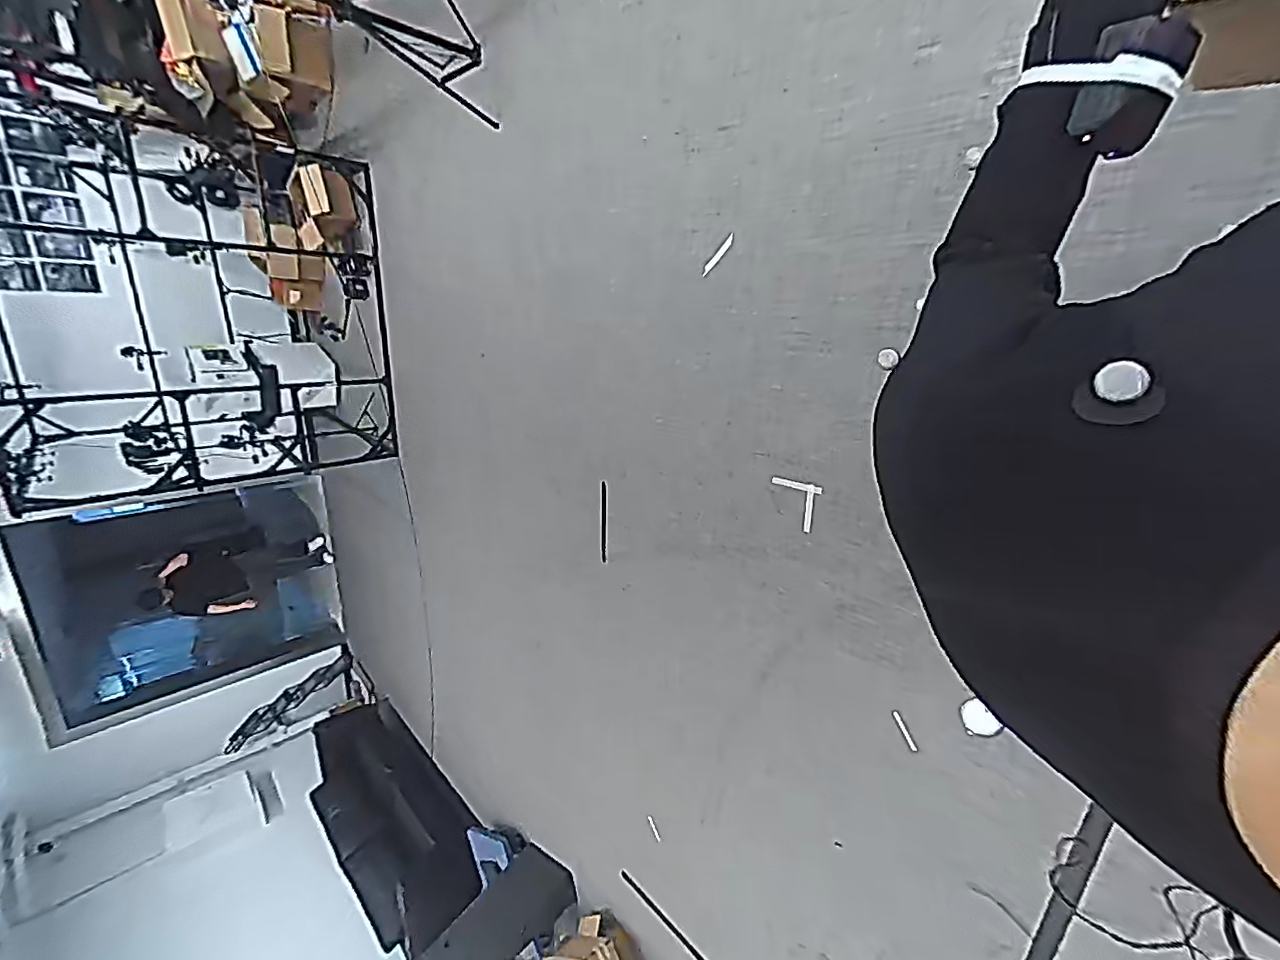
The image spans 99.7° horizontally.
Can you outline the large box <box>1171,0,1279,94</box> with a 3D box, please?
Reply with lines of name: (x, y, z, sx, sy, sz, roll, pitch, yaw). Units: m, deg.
large box: (0.587, -0.428, 0.261, 0.408, 0.320, 0.320, 23, 123, 40)
